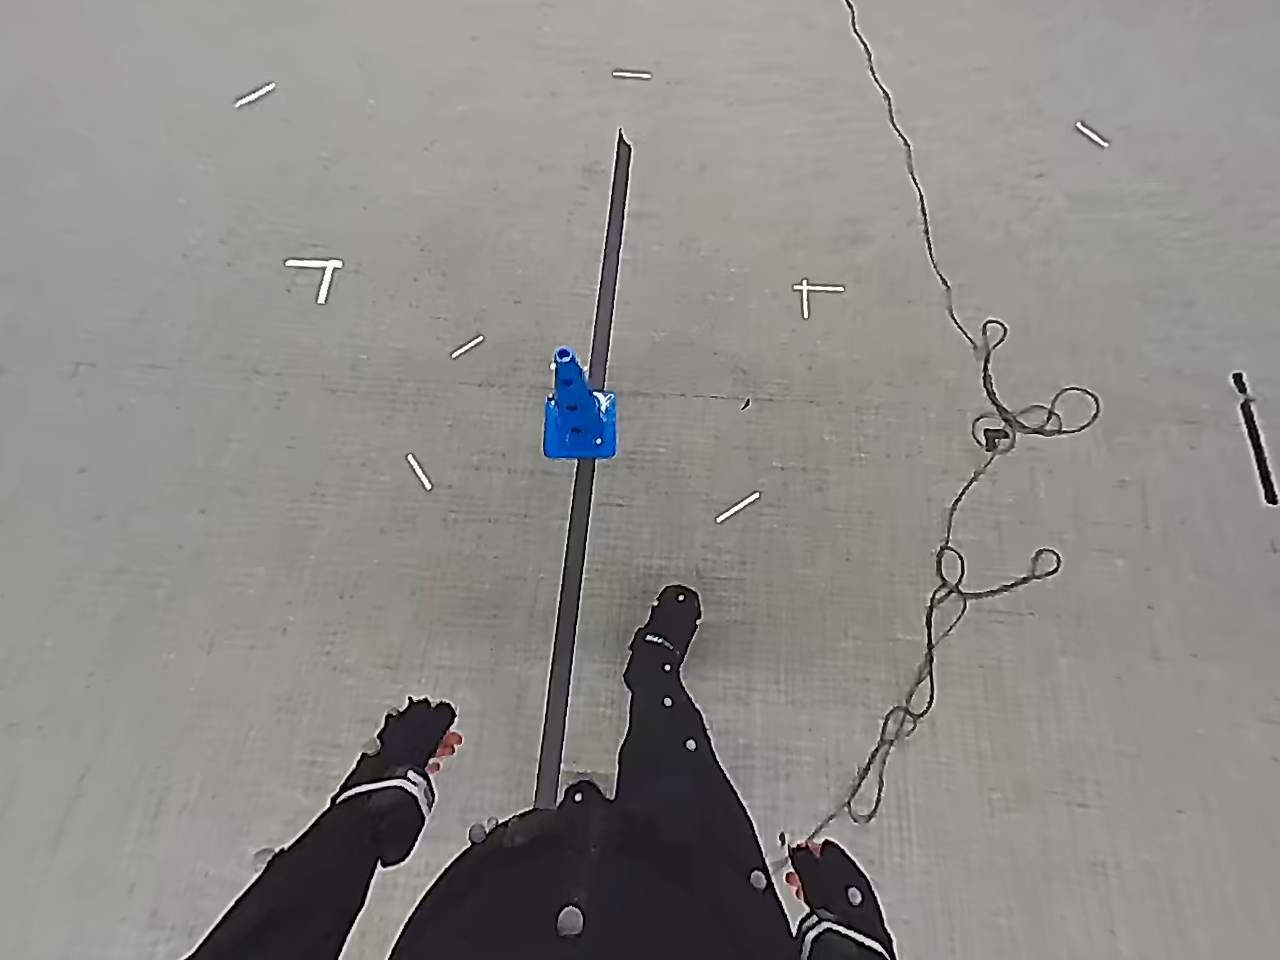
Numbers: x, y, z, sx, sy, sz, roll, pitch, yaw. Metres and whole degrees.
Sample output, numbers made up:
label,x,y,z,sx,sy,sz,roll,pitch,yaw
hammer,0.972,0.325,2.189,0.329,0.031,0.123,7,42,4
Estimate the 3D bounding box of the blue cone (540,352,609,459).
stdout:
label,x,y,z,sx,sy,sz,roll,pitch,yaw
blue cone,-0.182,-0.202,1.348,0.192,0.380,0.193,1,70,1
